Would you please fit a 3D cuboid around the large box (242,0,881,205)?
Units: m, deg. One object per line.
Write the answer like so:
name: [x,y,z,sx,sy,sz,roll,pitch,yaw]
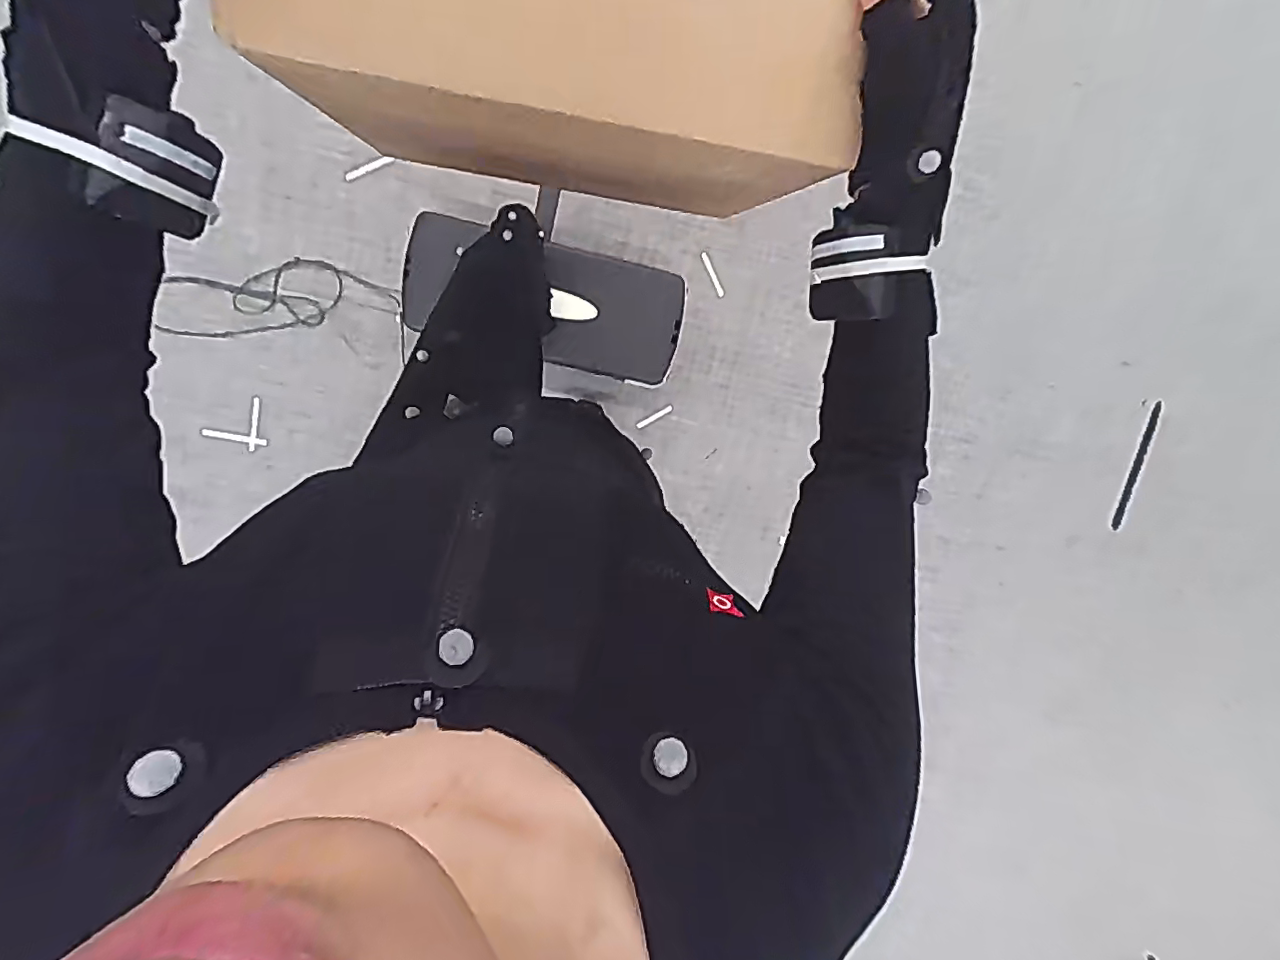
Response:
large box: [-0.048,-0.442,0.447,0.408,0.320,0.320,4,110,-11]
